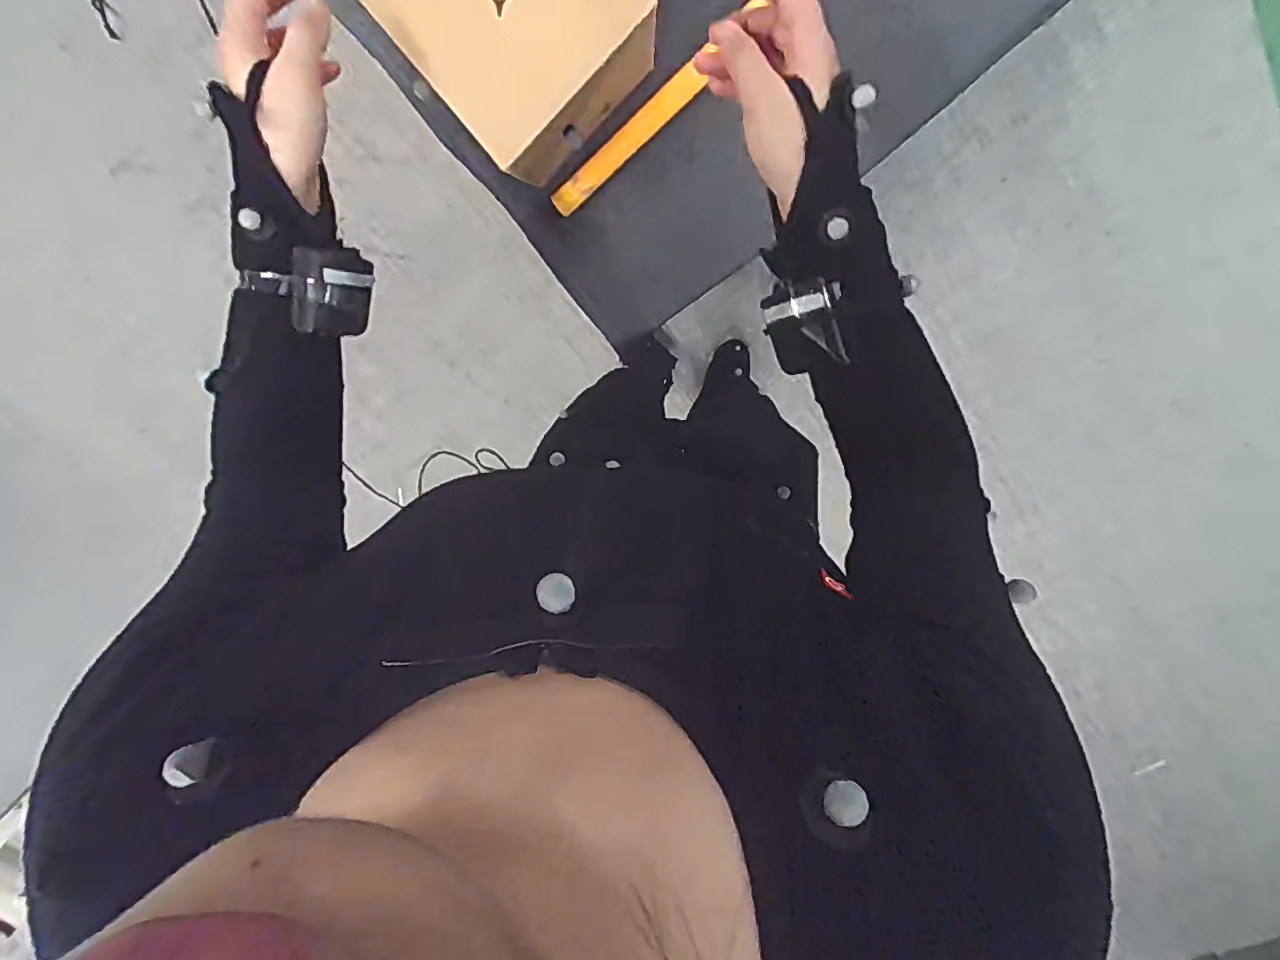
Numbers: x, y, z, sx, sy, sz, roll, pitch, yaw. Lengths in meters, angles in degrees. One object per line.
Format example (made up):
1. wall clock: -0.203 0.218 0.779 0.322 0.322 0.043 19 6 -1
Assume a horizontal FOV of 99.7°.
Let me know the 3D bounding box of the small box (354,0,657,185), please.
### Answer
1. small box: -0.100 -0.383 0.464 0.168 0.176 0.179 -39 108 16
